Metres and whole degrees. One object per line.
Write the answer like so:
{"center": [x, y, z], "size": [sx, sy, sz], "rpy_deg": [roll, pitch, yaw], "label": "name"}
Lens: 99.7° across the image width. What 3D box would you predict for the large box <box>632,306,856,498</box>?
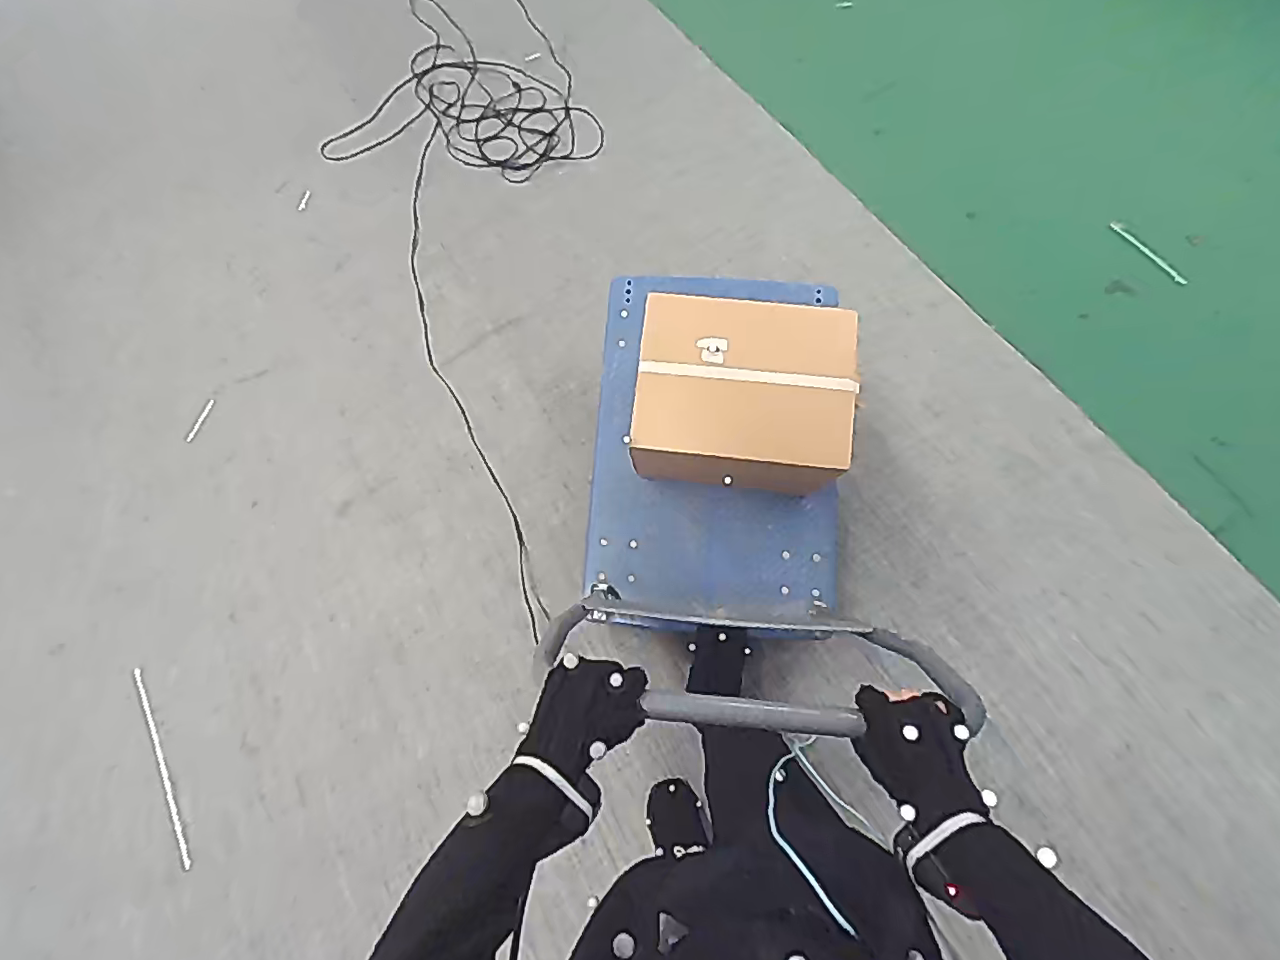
{"center": [0.209, -0.147, 1.160], "size": [0.408, 0.320, 0.320], "rpy_deg": [6, 80, 5], "label": "large box"}
